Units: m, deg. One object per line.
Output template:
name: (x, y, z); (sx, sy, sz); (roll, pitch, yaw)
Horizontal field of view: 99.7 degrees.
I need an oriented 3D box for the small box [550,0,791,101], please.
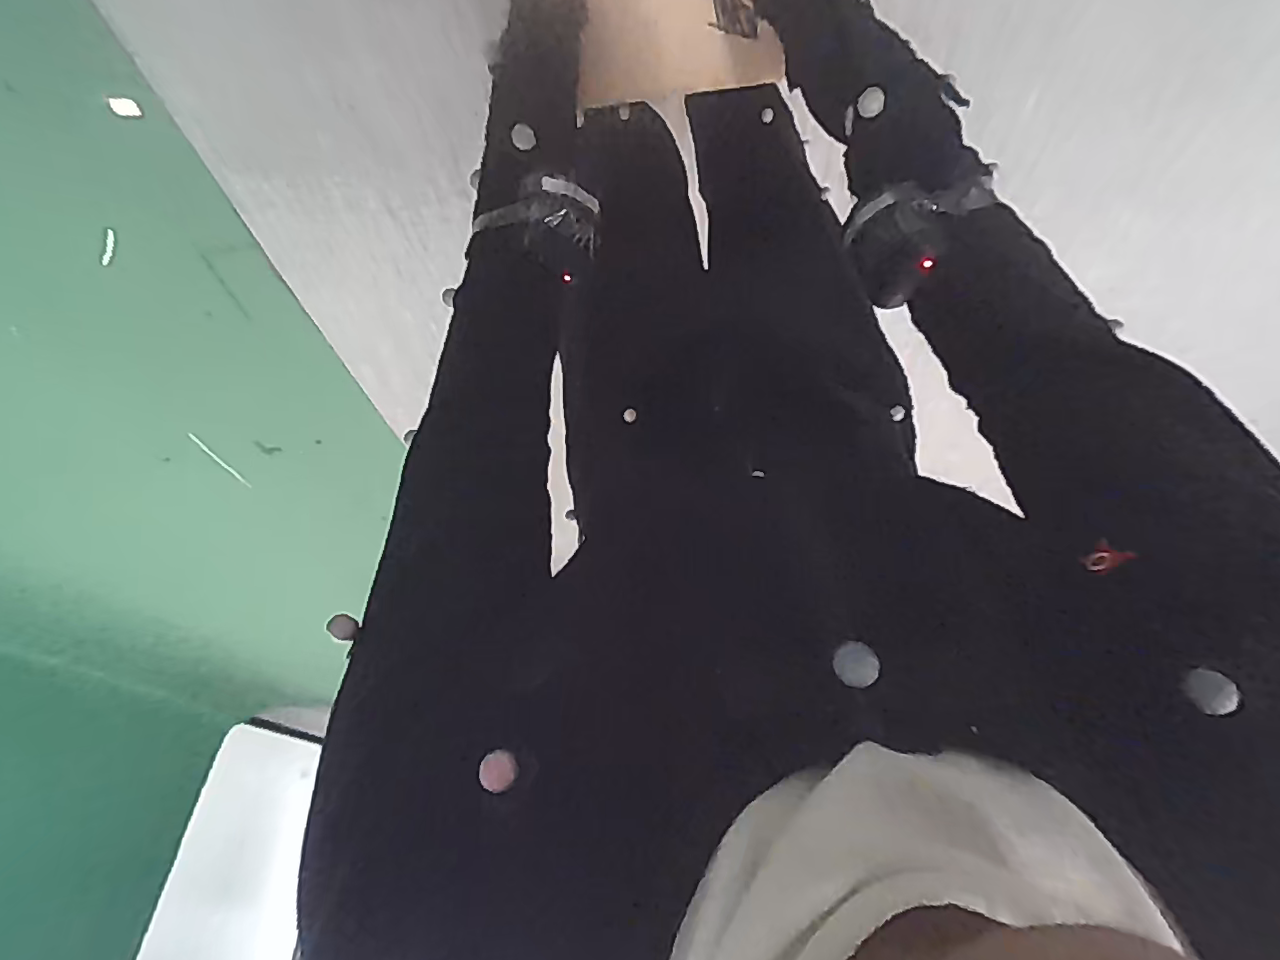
small box: (0.019, -0.420, 0.427); (0.179, 0.176, 0.168); (-3, 134, 3)
